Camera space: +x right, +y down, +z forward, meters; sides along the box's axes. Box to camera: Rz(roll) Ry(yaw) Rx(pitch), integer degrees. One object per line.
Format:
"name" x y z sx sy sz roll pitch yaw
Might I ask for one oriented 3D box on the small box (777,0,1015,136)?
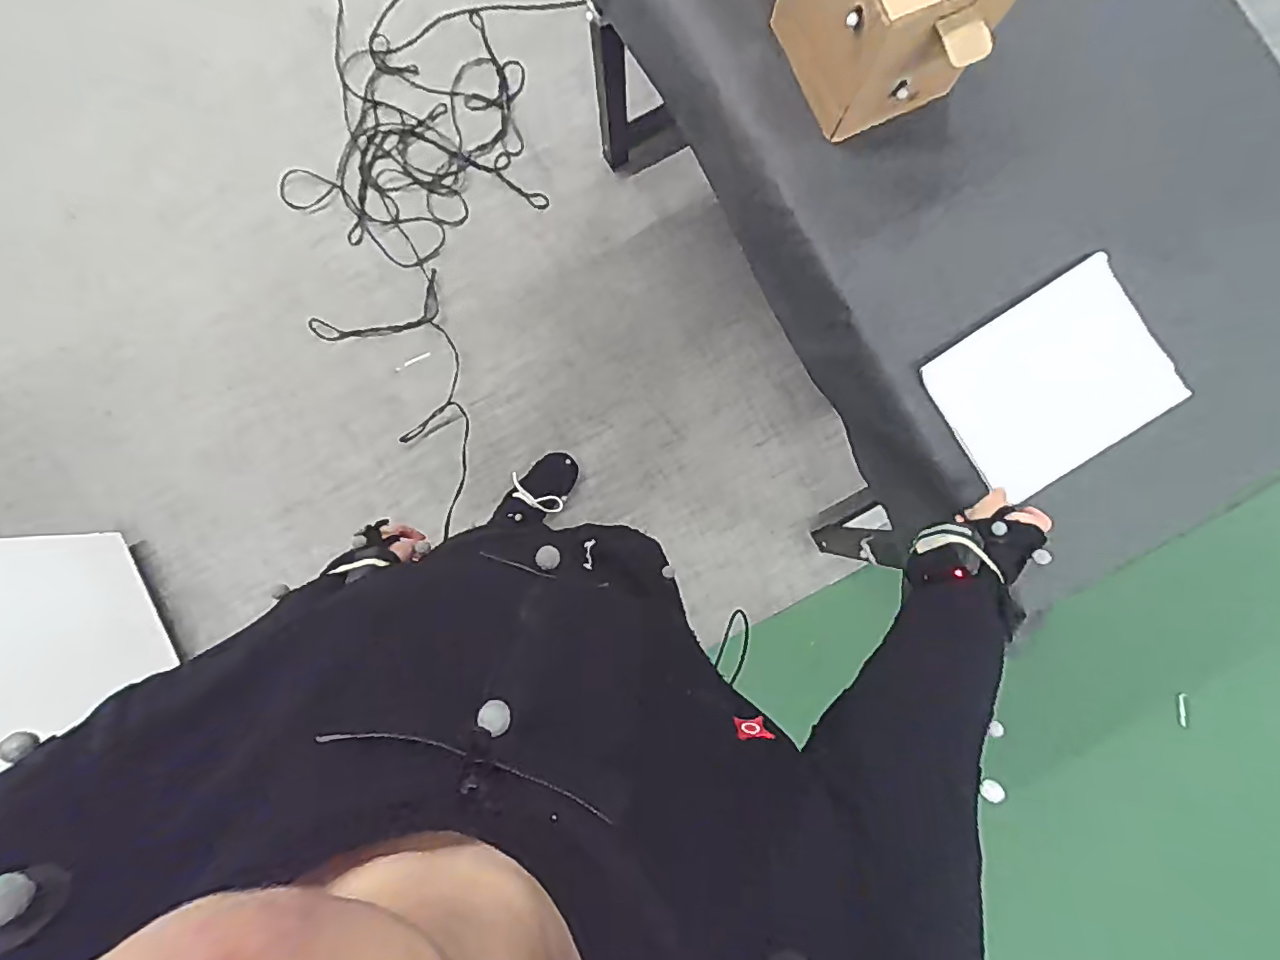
"small box" 0.271 -0.528 0.585 0.168 0.176 0.179 -25 88 -2
